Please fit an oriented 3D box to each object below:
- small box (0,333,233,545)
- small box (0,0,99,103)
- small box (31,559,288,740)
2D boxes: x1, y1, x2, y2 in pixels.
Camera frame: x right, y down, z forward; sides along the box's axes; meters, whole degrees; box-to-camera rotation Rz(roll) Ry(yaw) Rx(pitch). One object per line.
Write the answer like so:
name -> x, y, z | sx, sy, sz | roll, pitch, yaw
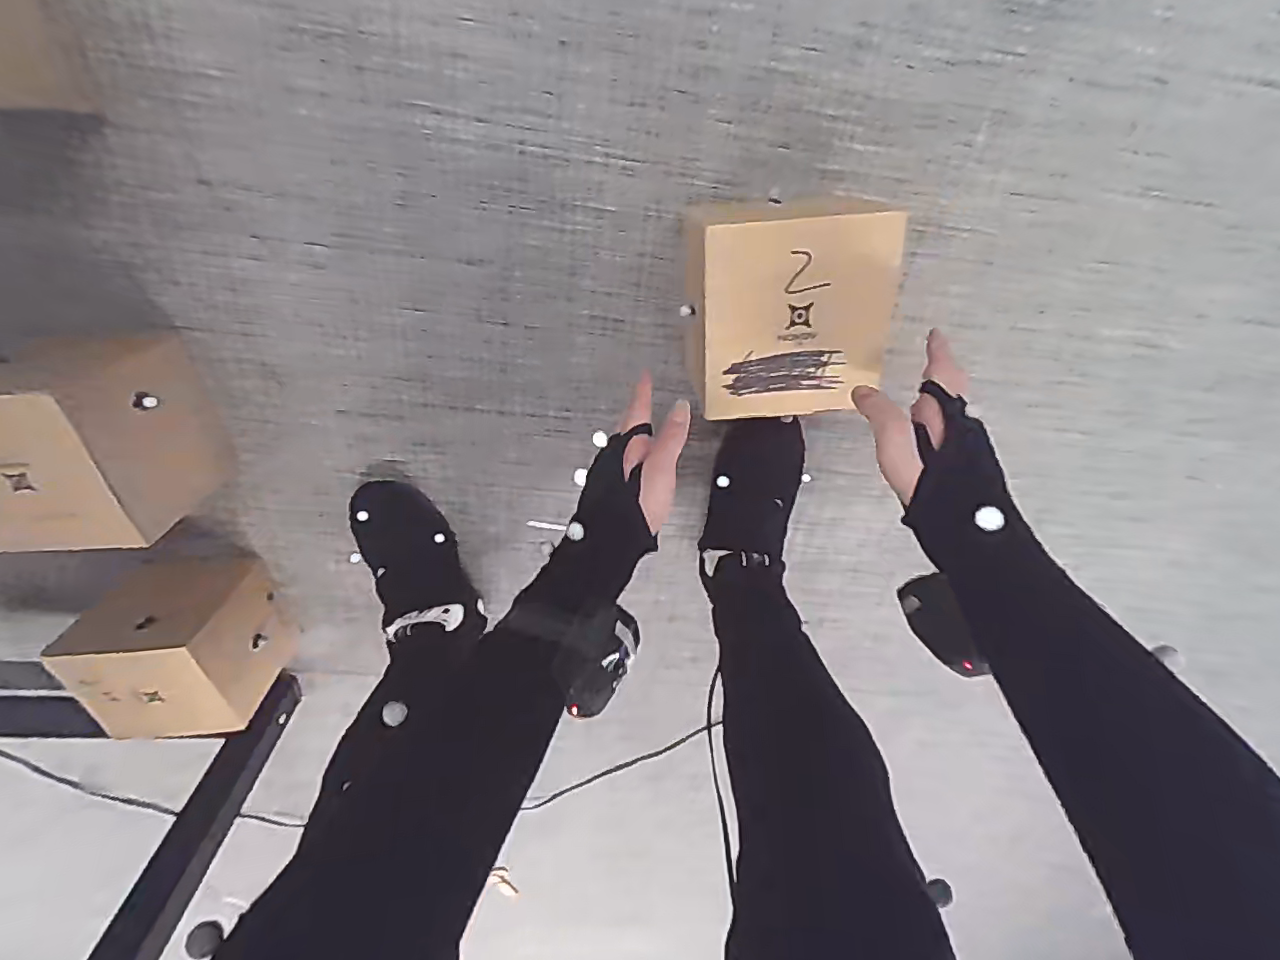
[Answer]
small box -> -0.587, -0.051, 0.571 | 0.168, 0.176, 0.179 | -1, 122, -2
small box -> -0.565, -0.371, 0.378 | 0.179, 0.176, 0.168 | -1, 121, -3
small box -> -0.617, 0.221, 0.732 | 0.179, 0.176, 0.168 | -3, 121, -2
